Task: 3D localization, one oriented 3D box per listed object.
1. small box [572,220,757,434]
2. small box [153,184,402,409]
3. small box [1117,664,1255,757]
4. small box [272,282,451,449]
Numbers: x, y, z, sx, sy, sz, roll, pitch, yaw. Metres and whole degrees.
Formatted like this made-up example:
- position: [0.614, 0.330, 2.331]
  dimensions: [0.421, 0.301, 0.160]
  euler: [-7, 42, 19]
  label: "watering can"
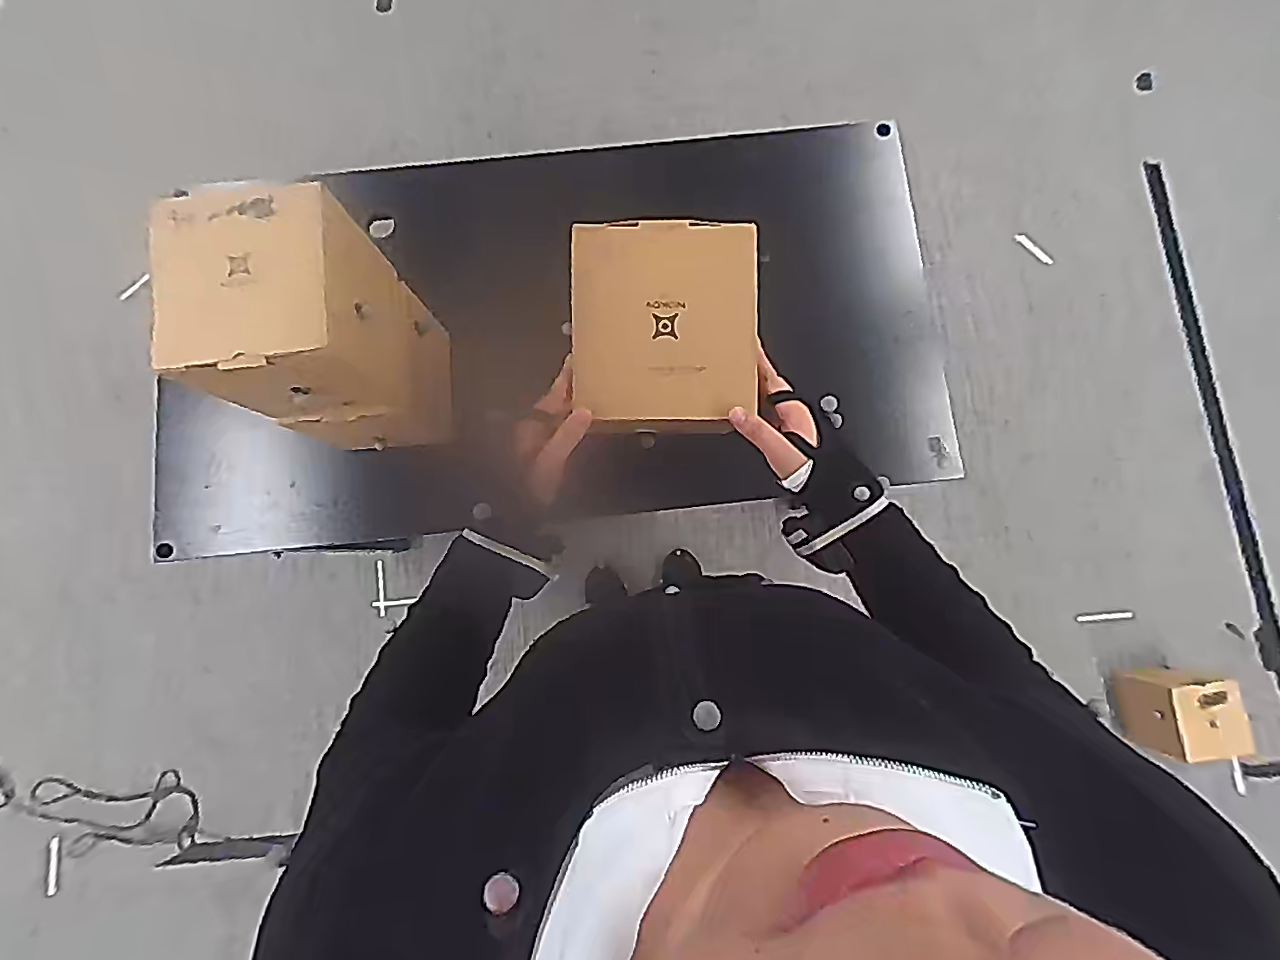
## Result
- position: [0.021, -0.143, 0.558]
  dimensions: [0.168, 0.176, 0.179]
  euler: [0, 91, 0]
  label: "small box"
- position: [-0.378, -0.182, 0.592]
  dimensions: [0.168, 0.176, 0.179]
  euler: [-7, 82, -1]
  label: "small box"
- position: [1.369, 0.574, 1.371]
  dimensions: [0.168, 0.176, 0.179]
  euler: [-7, 83, 0]
  label: "small box"
- position: [-0.373, -0.150, 0.753]
  dimensions: [0.168, 0.176, 0.179]
  euler: [-5, 82, 0]
  label: "small box"
